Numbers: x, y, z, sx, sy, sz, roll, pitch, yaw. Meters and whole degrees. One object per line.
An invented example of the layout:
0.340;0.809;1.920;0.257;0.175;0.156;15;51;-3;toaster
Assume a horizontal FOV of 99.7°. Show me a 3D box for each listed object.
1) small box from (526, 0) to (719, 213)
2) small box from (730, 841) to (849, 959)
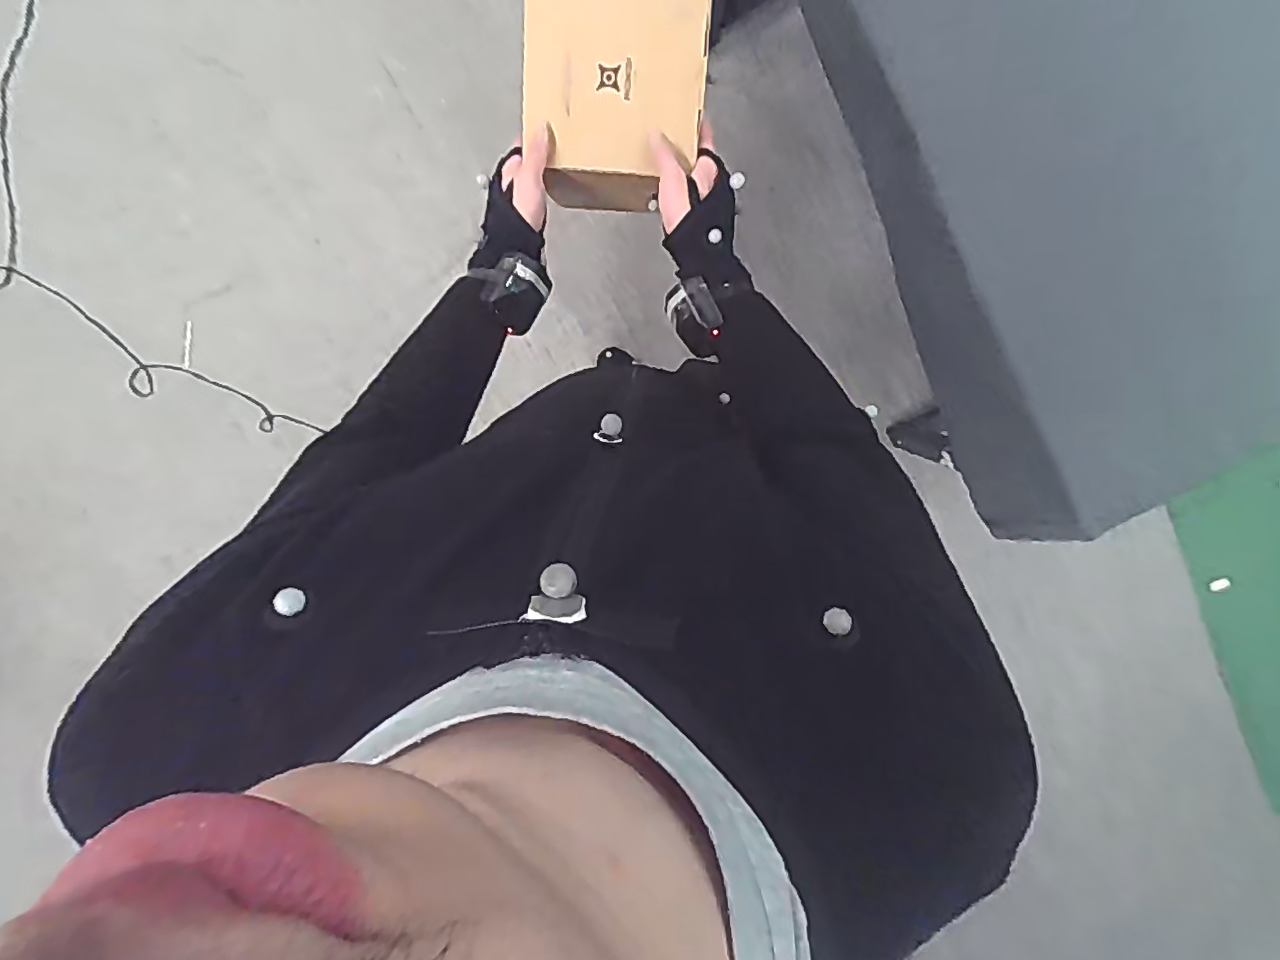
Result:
-0.016;-0.394;0.573;0.179;0.176;0.168;3;102;2;small box
0.286;0.858;1.056;0.179;0.176;0.168;-25;102;6;small box
